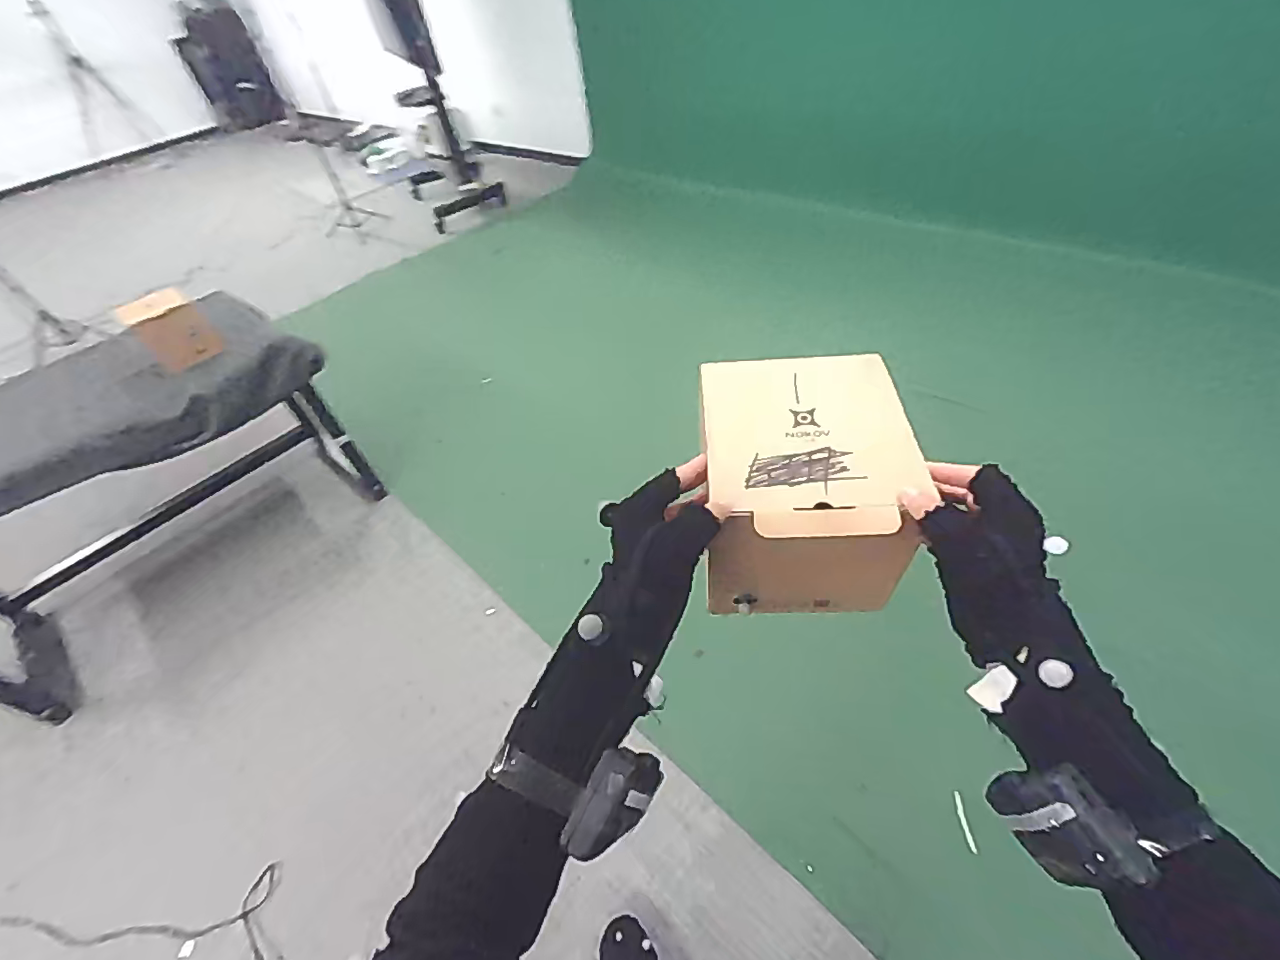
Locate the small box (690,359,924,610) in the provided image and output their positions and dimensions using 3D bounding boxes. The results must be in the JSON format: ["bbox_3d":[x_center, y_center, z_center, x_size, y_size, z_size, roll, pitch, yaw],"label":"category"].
[{"bbox_3d":[0.135,0.011,0.507,0.168,0.176,0.179,-3,49,5],"label":"small box"}]

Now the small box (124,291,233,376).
[{"bbox_3d":[-1.357,-0.432,1.600,0.179,0.176,0.168,27,56,33],"label":"small box"}]
